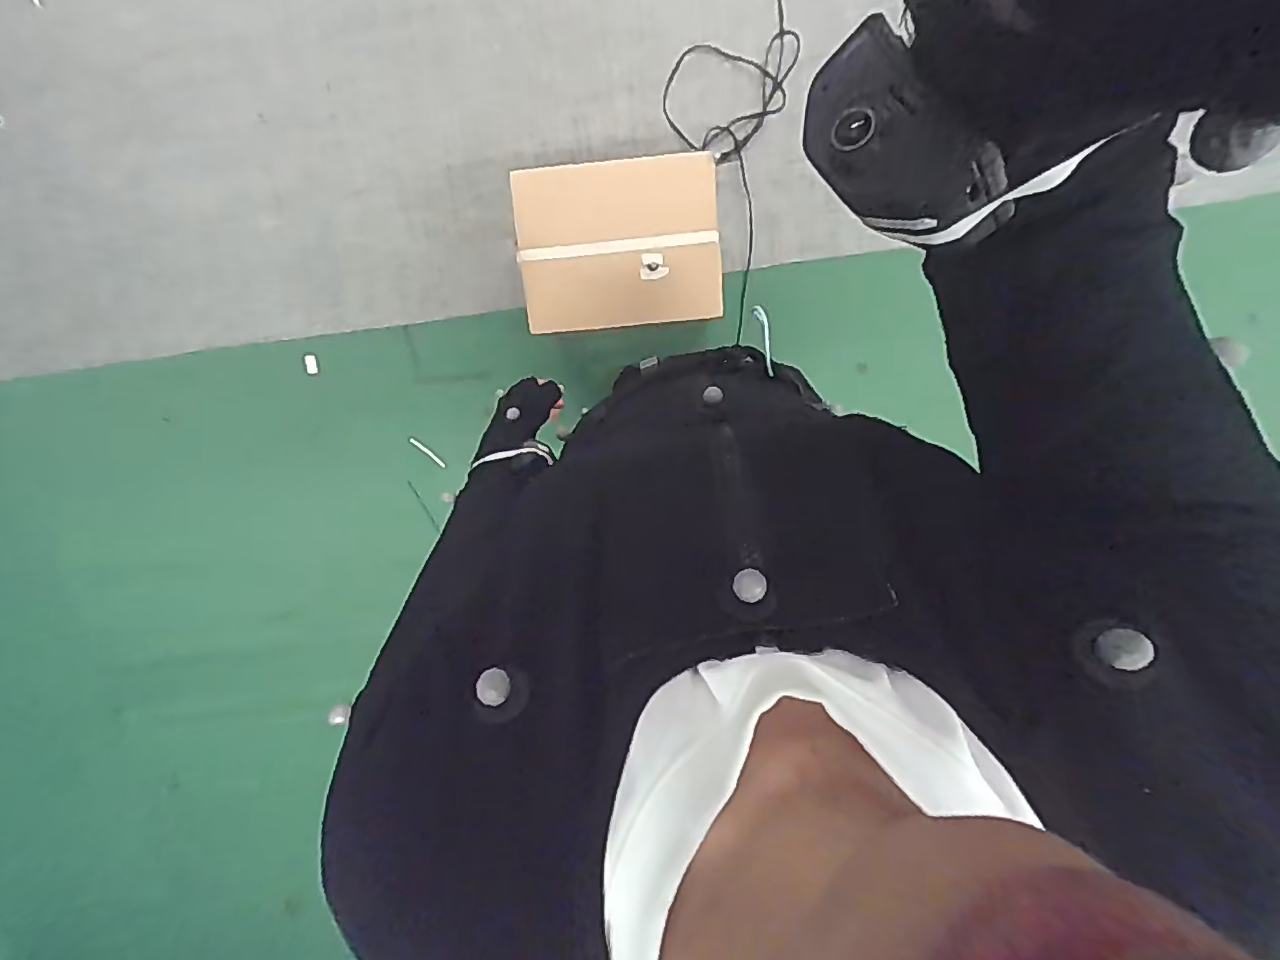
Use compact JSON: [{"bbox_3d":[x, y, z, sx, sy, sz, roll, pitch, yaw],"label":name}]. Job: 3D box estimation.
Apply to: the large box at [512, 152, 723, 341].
[{"bbox_3d":[-0.042,-0.502,1.234,0.408,0.320,0.320,-5,103,1],"label":"large box"}]
